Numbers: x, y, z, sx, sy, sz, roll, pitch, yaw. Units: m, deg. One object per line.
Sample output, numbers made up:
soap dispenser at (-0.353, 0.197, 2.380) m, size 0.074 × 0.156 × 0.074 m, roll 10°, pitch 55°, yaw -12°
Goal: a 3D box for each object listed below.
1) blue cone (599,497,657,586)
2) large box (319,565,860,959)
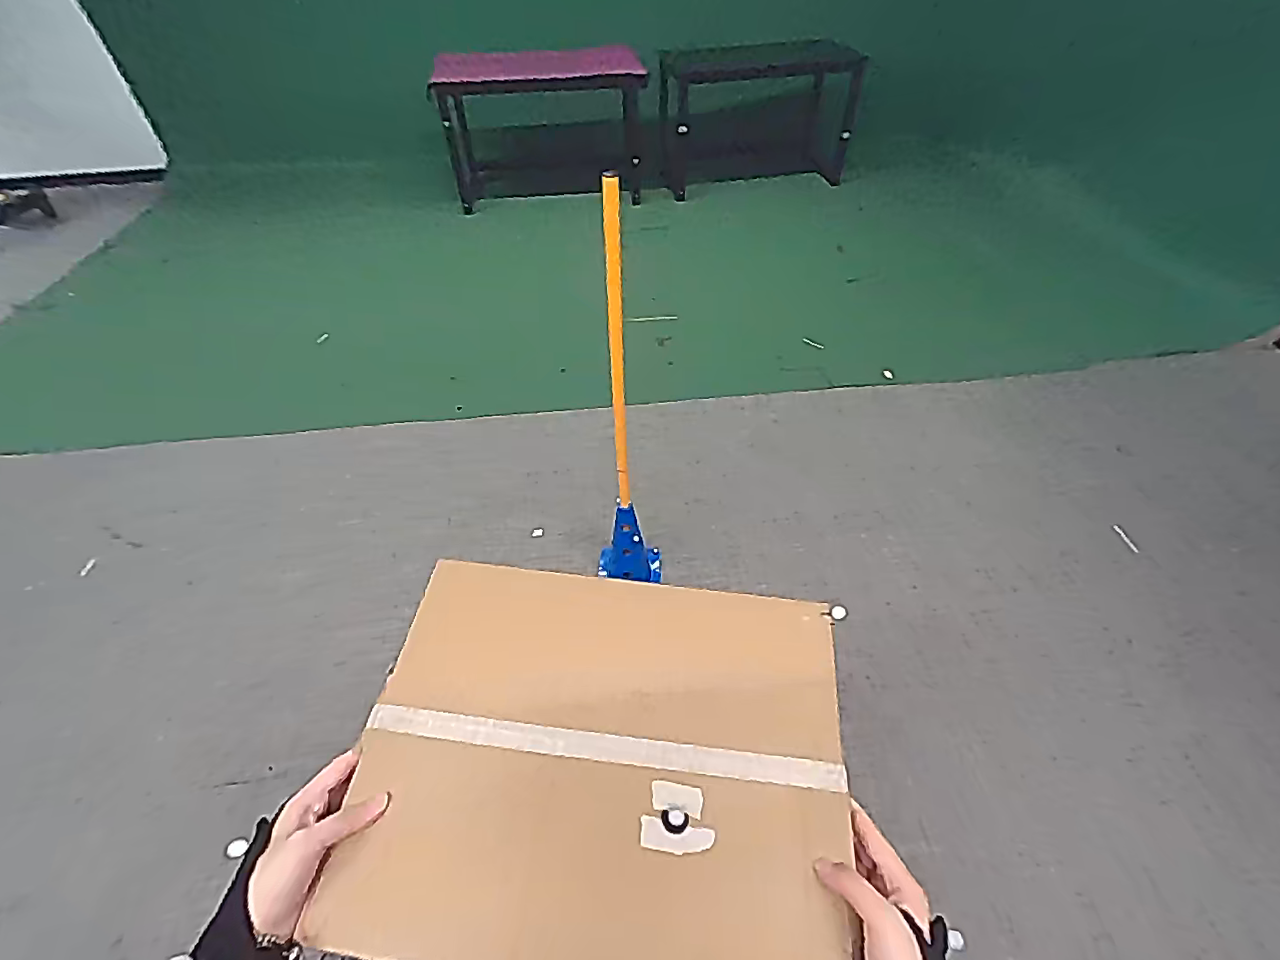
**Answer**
blue cone at (-0.044, 0.196, 1.631) m, size 0.193 × 0.380 × 0.192 m, roll 2°, pitch 47°, yaw 3°
large box at (-0.028, 0.319, 0.592) m, size 0.408 × 0.320 × 0.320 m, roll 7°, pitch 54°, yaw 4°
